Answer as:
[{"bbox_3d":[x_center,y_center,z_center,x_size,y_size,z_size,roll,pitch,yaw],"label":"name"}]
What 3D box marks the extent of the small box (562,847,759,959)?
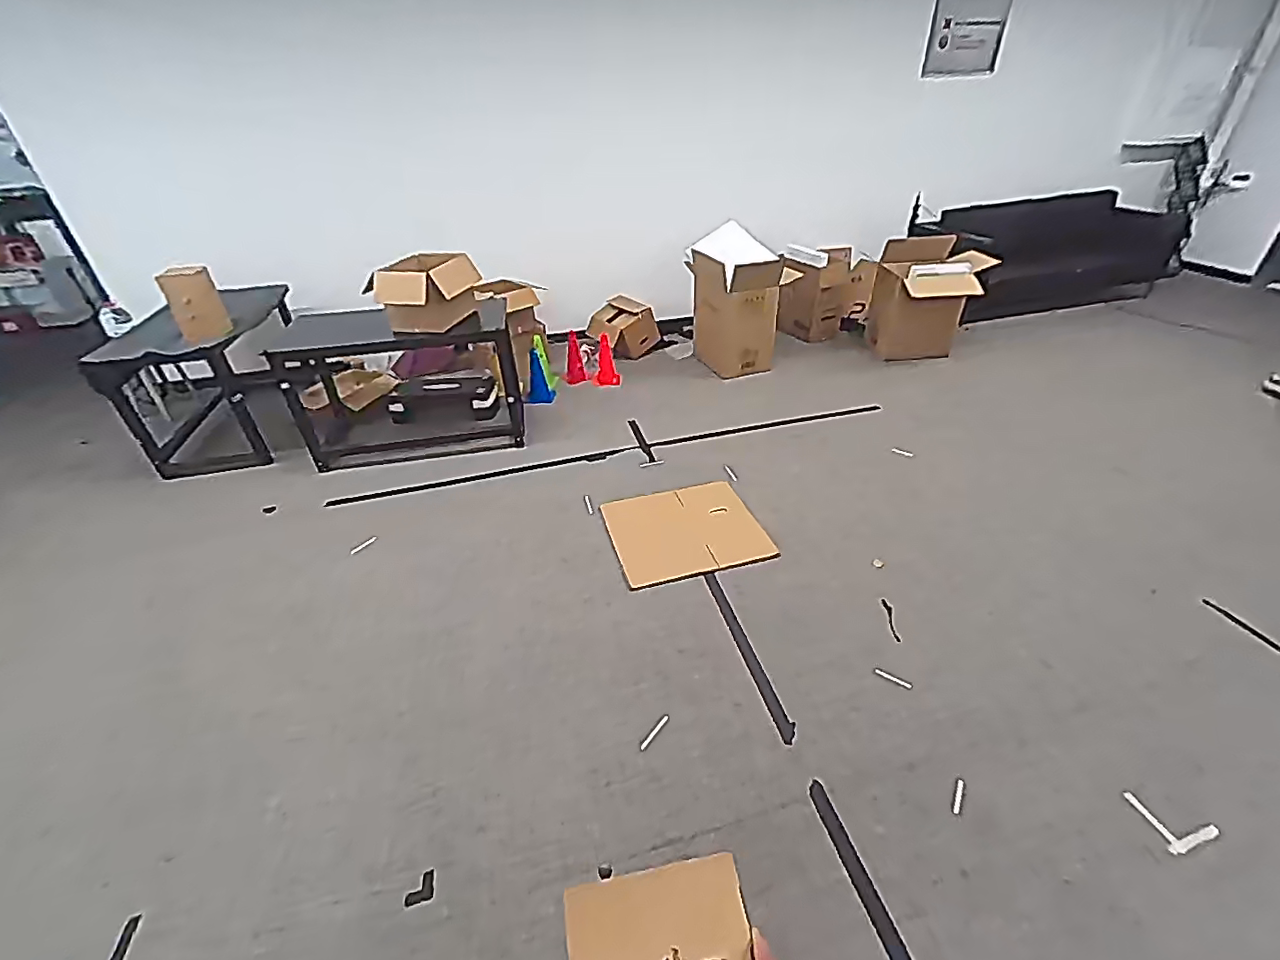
[{"bbox_3d":[0.018,0.498,0.546,0.179,0.176,0.168,-5,49,-11],"label":"small box"}]
